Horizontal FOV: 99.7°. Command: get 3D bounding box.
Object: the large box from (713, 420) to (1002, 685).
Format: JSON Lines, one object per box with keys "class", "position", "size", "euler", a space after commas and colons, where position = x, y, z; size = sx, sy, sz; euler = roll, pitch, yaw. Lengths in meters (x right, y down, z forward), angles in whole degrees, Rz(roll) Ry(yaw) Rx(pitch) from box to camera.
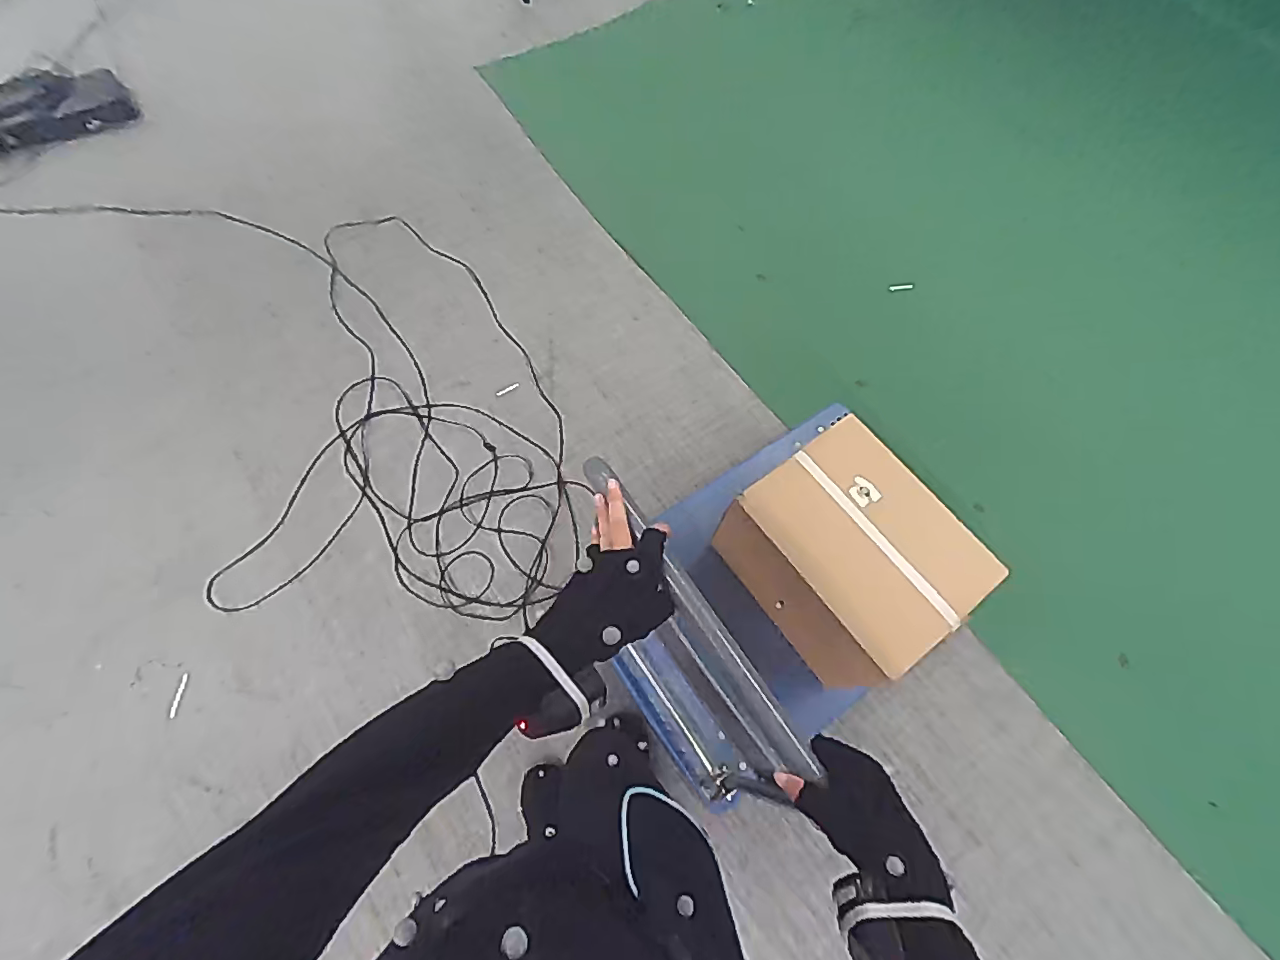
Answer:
{"class": "large box", "position": [0.412, 0.163, 1.129], "size": [0.320, 0.320, 0.408], "euler": [-34, 72, -16]}
